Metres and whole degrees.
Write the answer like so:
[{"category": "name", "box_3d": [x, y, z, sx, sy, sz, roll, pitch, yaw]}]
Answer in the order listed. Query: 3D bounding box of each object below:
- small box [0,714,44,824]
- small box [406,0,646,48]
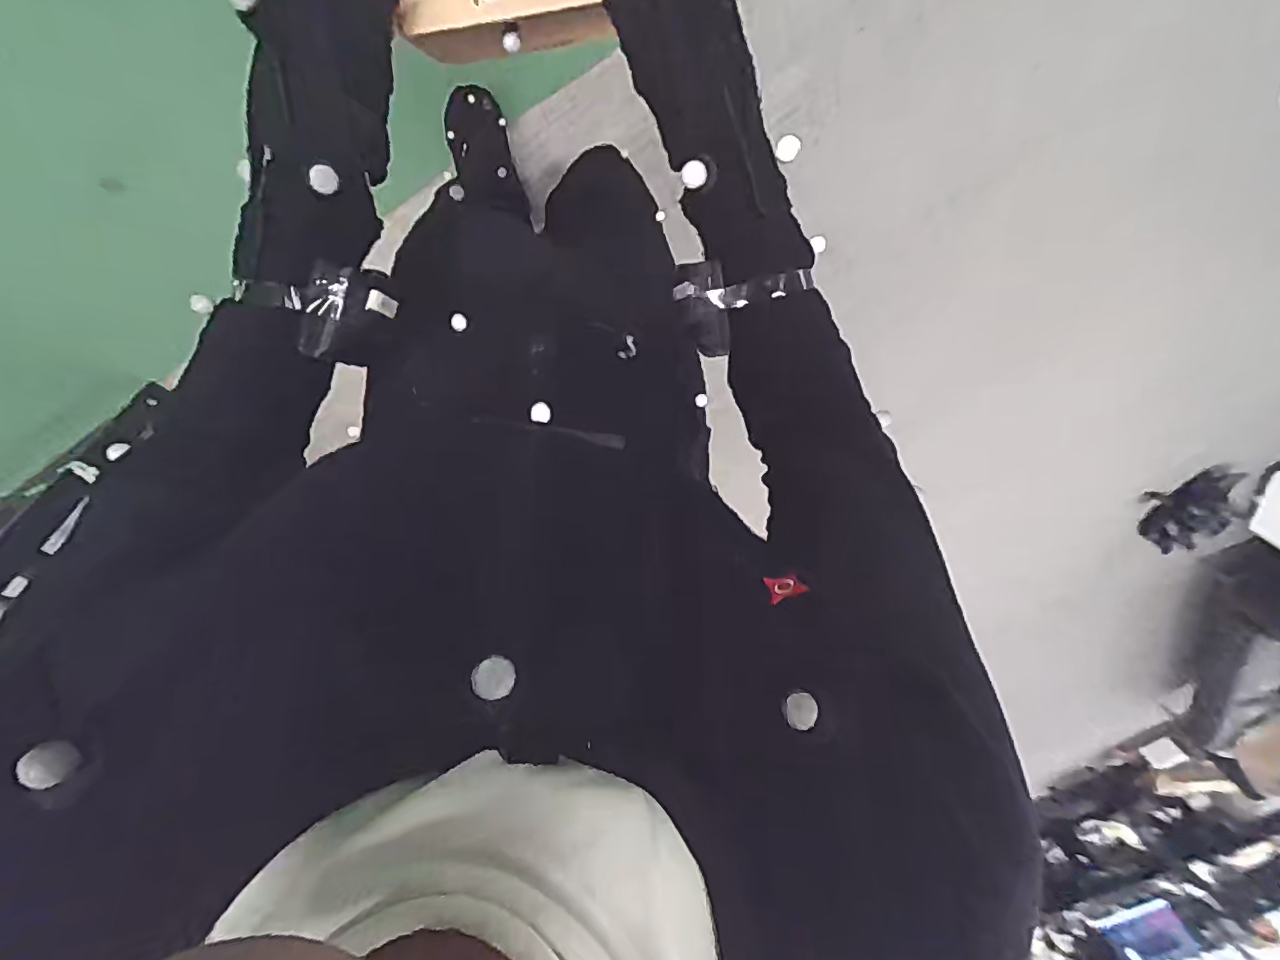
[{"category": "small box", "box_3d": [-0.965, 0.410, 0.712, 0.179, 0.176, 0.168, -29, 132, 11]}, {"category": "small box", "box_3d": [-0.084, -0.408, 0.346, 0.168, 0.176, 0.179, -12, 124, -3]}]
